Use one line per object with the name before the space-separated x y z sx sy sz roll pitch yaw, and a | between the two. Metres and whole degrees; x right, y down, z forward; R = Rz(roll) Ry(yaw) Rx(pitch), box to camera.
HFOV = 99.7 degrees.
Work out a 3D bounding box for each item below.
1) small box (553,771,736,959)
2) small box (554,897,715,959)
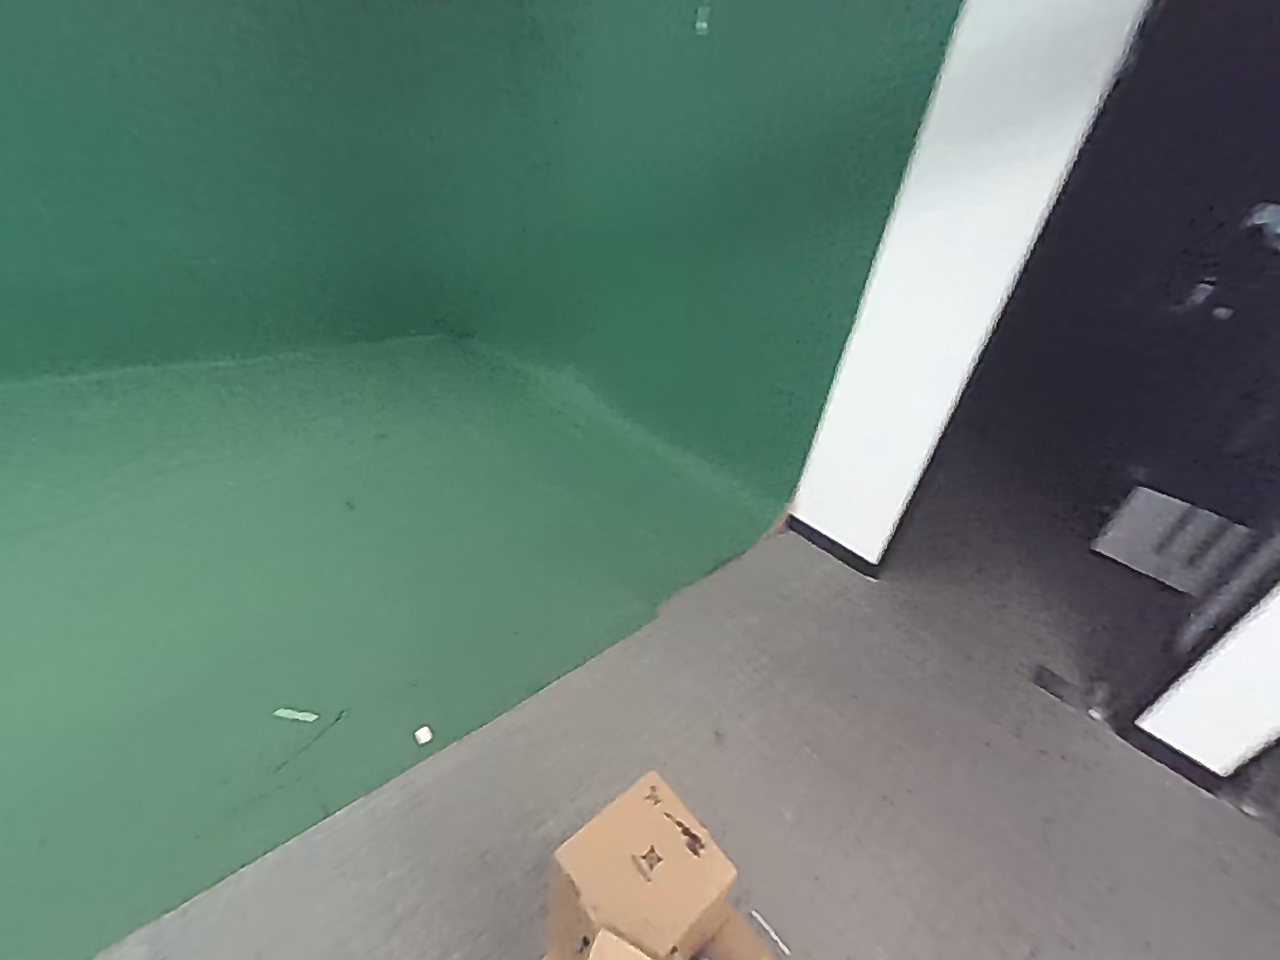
small box | 0.000 0.548 0.726 0.179 0.176 0.168 -22 45 -35
small box | -0.017 0.681 0.821 0.179 0.176 0.168 -22 45 -36
